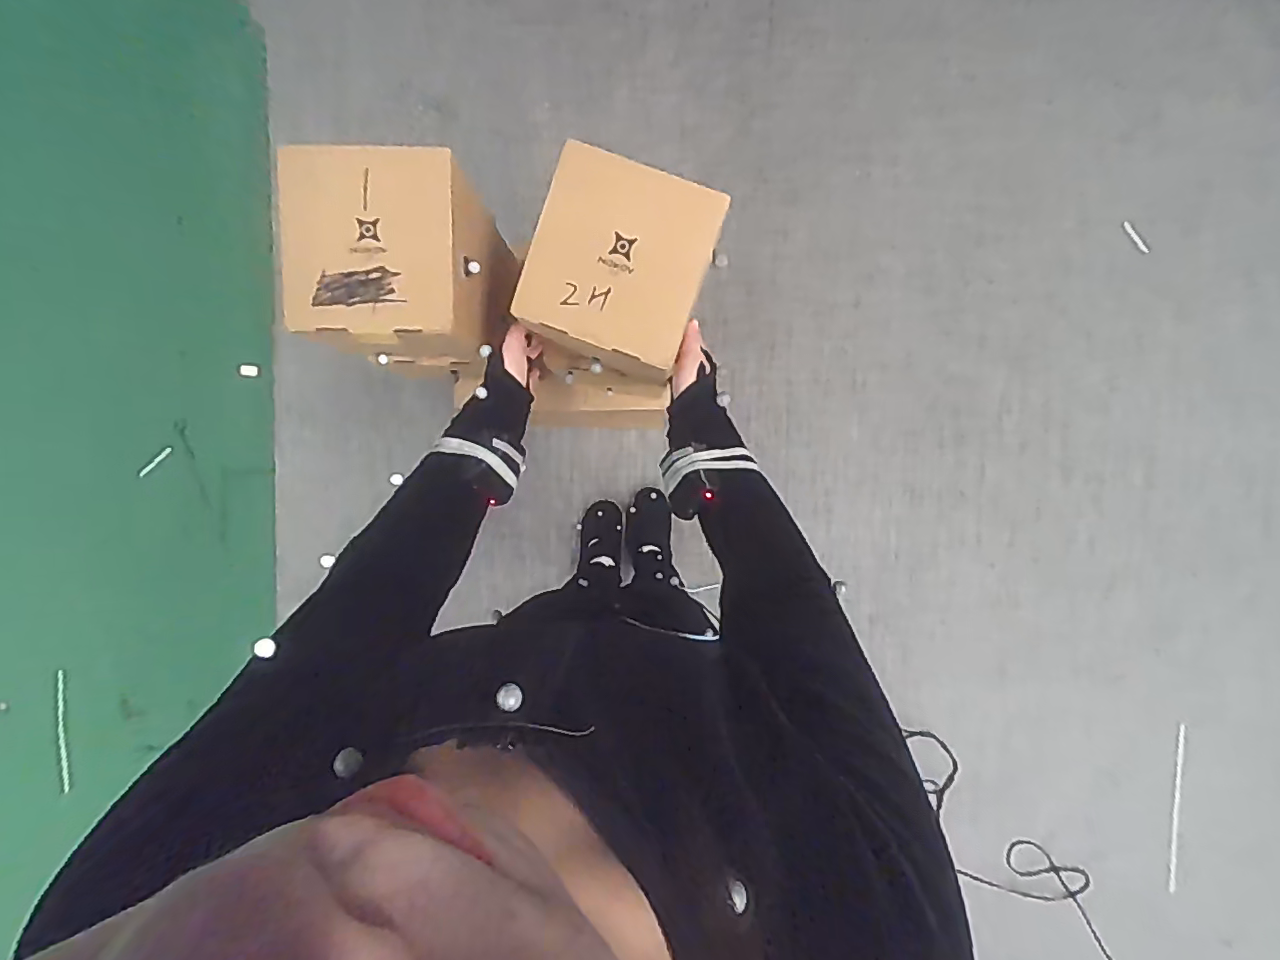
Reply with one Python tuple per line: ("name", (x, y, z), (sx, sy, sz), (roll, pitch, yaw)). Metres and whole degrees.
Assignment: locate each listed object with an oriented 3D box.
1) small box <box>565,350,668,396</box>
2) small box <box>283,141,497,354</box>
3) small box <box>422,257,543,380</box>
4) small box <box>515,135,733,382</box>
("small box", (-0.026, -0.245, 0.920), (0.168, 0.176, 0.179), (8, 95, 1))
("small box", (-0.259, -0.239, 0.599), (0.168, 0.176, 0.179), (1, 93, -1))
("small box", (-0.260, -0.268, 0.926), (0.168, 0.176, 0.179), (2, 94, -1))
("small box", (-0.015, -0.222, 0.592), (0.168, 0.176, 0.179), (20, 95, 0))
